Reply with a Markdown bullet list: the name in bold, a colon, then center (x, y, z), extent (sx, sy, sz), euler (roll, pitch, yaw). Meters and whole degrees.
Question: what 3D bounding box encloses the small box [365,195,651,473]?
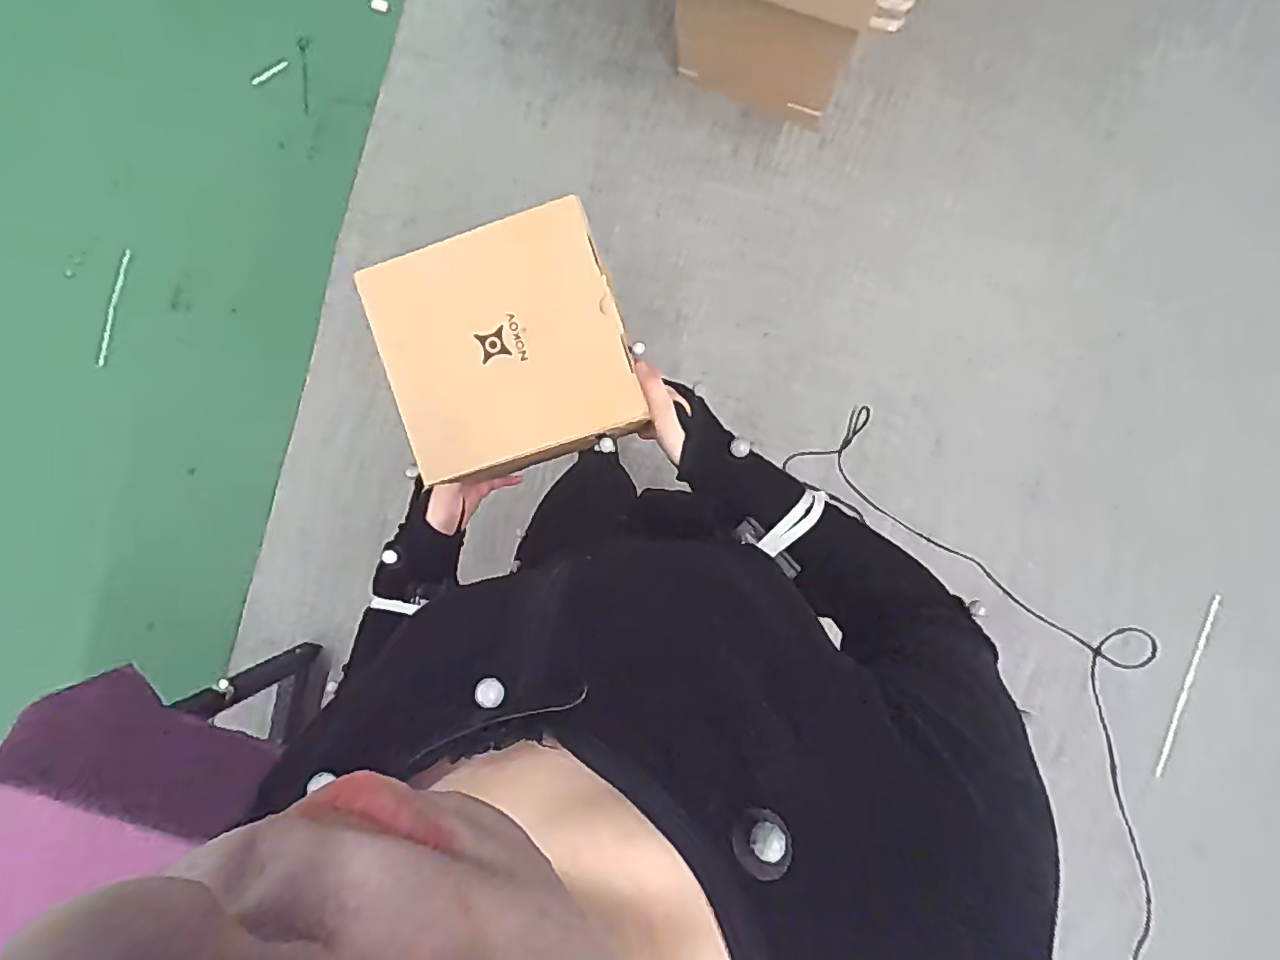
- **small box**: center (-0.095, -0.107, 0.474), extent (0.179, 0.176, 0.168), euler (-17, 92, 3)
